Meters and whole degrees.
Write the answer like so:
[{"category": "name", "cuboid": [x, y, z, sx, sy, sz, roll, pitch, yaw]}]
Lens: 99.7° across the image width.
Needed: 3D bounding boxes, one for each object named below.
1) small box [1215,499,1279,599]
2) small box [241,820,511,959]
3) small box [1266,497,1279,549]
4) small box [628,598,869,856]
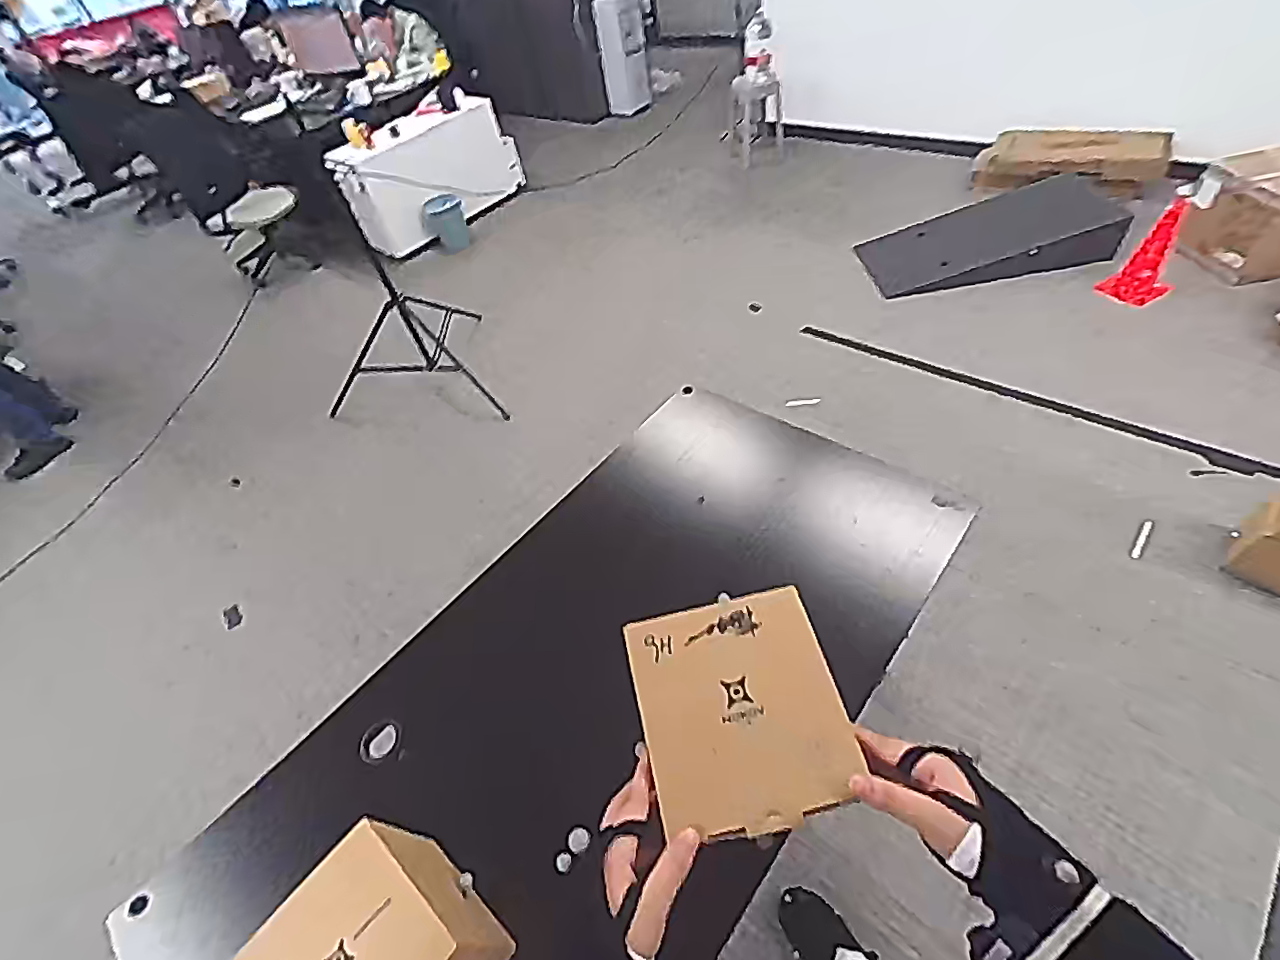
[{"category": "small box", "cuboid": [1.655, 0.187, 1.386, 0.179, 0.176, 0.168, 31, 62, 32]}, {"category": "small box", "cuboid": [-0.264, 0.499, 0.554, 0.168, 0.176, 0.179, 27, 58, 30]}, {"category": "small box", "cuboid": [1.638, 0.083, 1.263, 0.168, 0.176, 0.179, 29, 62, 32]}, {"category": "small box", "cuboid": [0.091, 0.240, 0.525, 0.168, 0.176, 0.179, -13, 57, -2]}]
